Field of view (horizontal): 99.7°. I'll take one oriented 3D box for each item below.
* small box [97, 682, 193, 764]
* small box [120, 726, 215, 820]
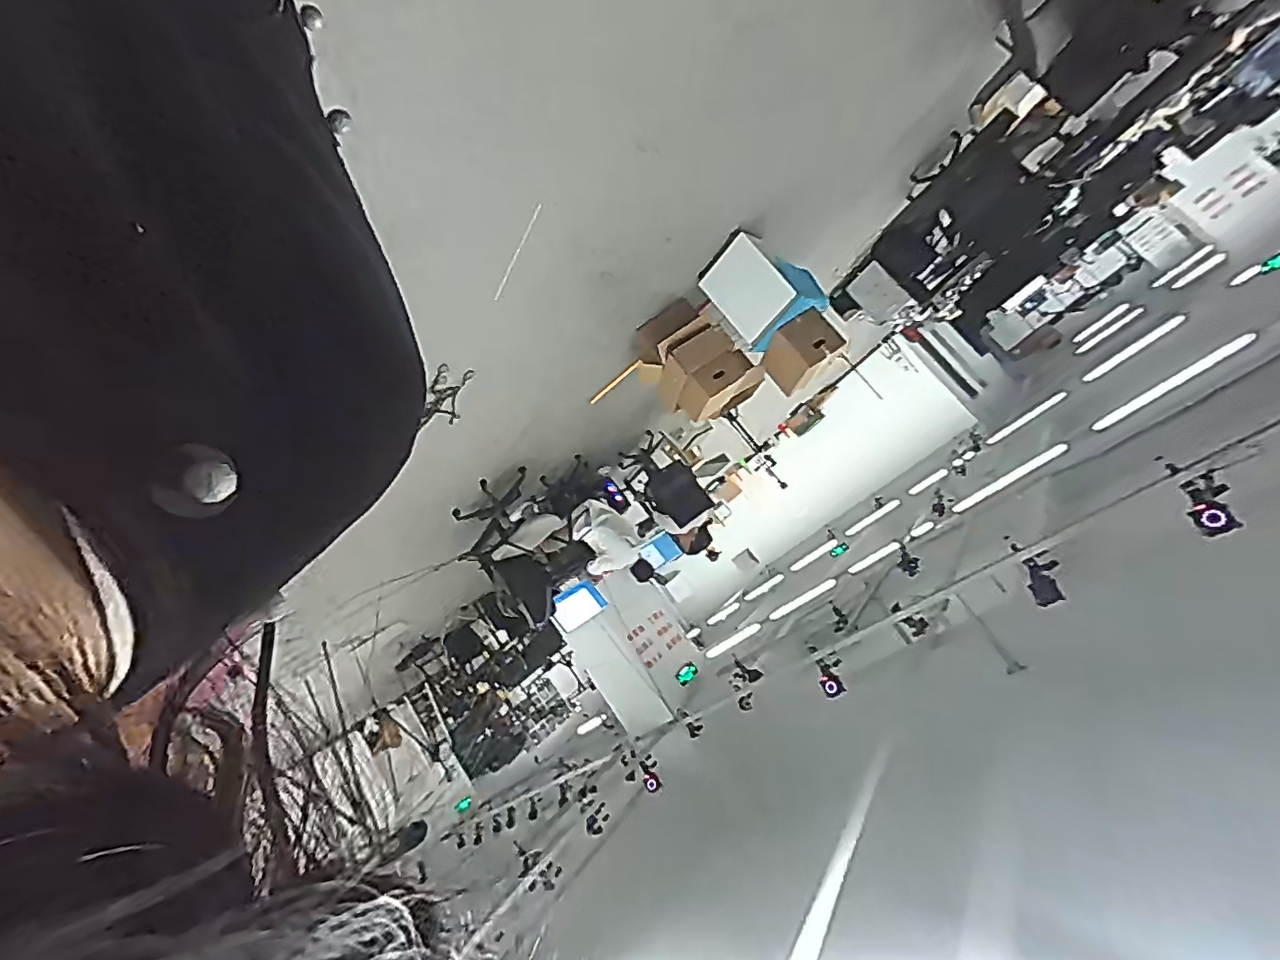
[{"bbox_3d":[-1.534,0.763,1.683,0.179,0.176,0.168,-25,163,-46],"label":"small box"},{"bbox_3d":[-1.439,0.888,1.646,0.179,0.176,0.168,-27,164,-45],"label":"small box"}]
